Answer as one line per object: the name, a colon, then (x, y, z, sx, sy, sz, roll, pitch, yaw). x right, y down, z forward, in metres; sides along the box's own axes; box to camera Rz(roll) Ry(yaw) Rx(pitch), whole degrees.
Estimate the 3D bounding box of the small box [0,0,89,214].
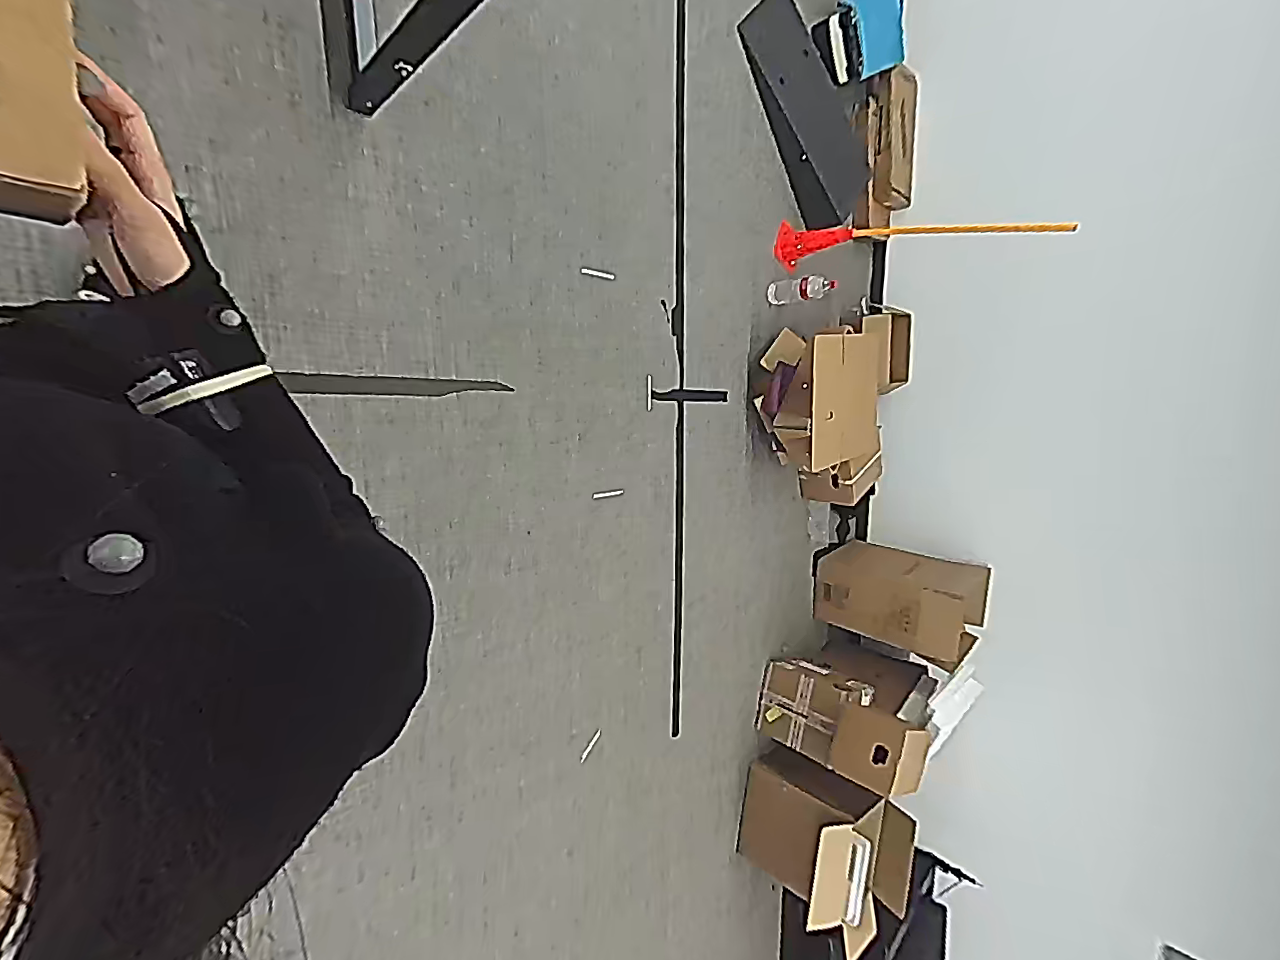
small box: (-0.380, -0.238, 0.249, 0.168, 0.176, 0.179, -7, 109, -49)
